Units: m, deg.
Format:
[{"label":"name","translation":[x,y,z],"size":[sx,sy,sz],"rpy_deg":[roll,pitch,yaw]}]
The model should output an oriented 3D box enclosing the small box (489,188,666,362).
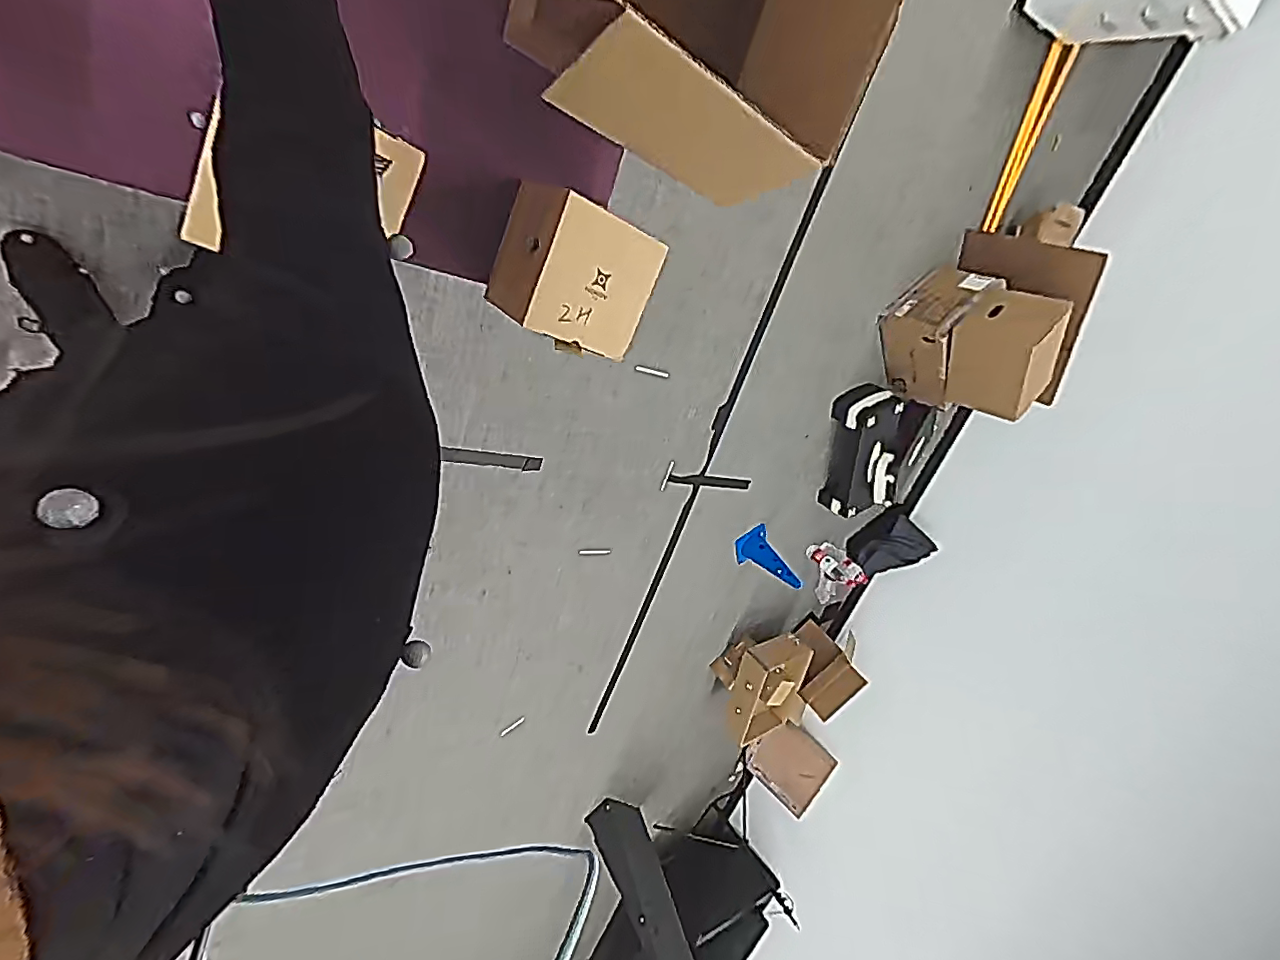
[{"label":"small box","translation":[-0.099,-0.297,0.781],"size":[0.168,0.176,0.179],"rpy_deg":[11,111,-39]}]
